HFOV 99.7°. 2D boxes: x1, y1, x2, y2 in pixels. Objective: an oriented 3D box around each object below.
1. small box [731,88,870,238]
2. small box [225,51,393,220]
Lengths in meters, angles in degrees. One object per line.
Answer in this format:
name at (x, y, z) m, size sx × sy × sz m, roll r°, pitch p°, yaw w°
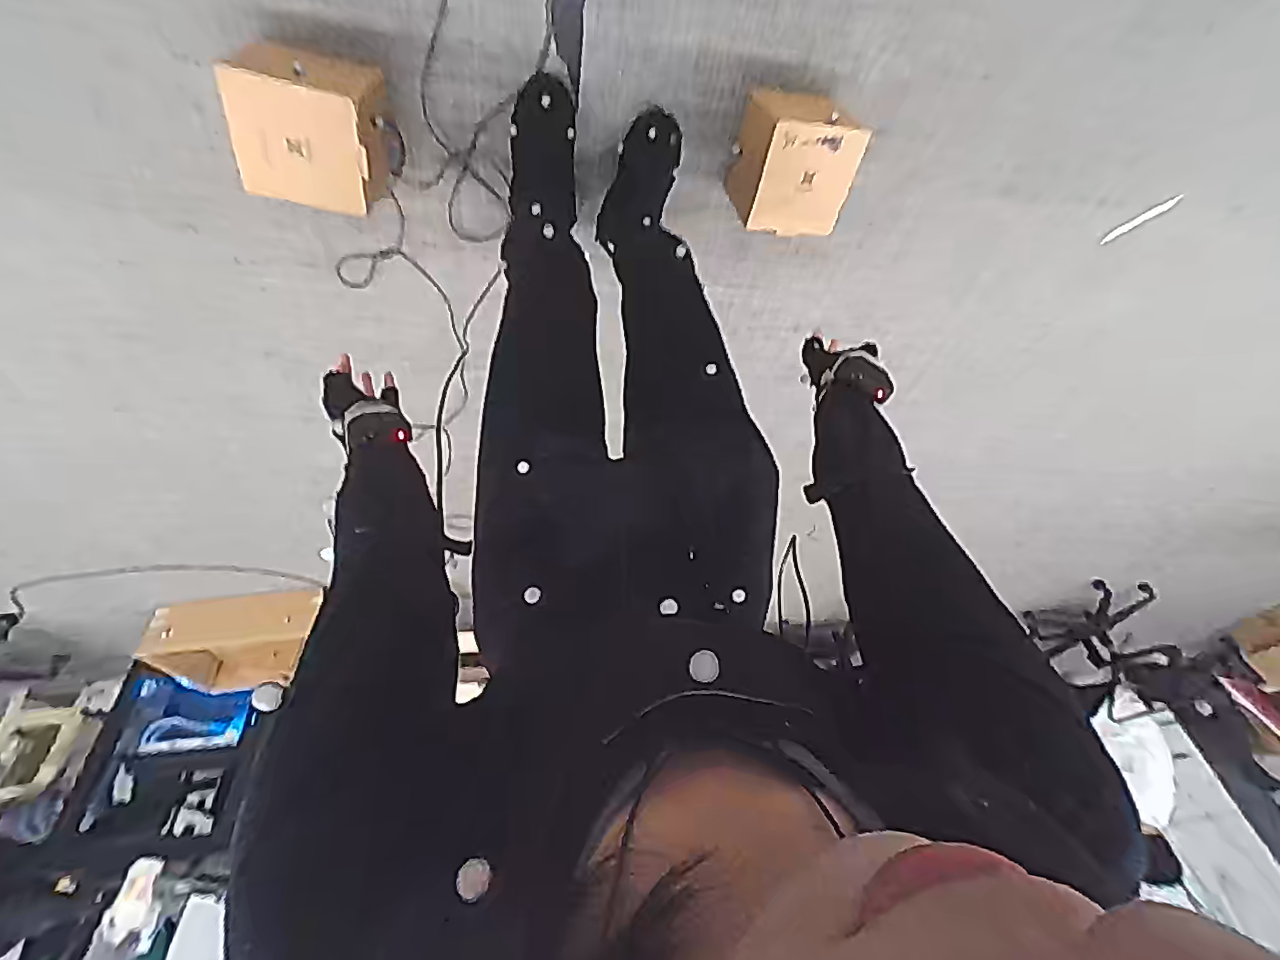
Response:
small box at (0.272, -0.564, 0.968) m, size 0.168 × 0.176 × 0.179 m, roll 0°, pitch 140°, yaw -11°
small box at (-0.499, -0.542, 0.850) m, size 0.179 × 0.176 × 0.168 m, roll 7°, pitch 136°, yaw -13°
